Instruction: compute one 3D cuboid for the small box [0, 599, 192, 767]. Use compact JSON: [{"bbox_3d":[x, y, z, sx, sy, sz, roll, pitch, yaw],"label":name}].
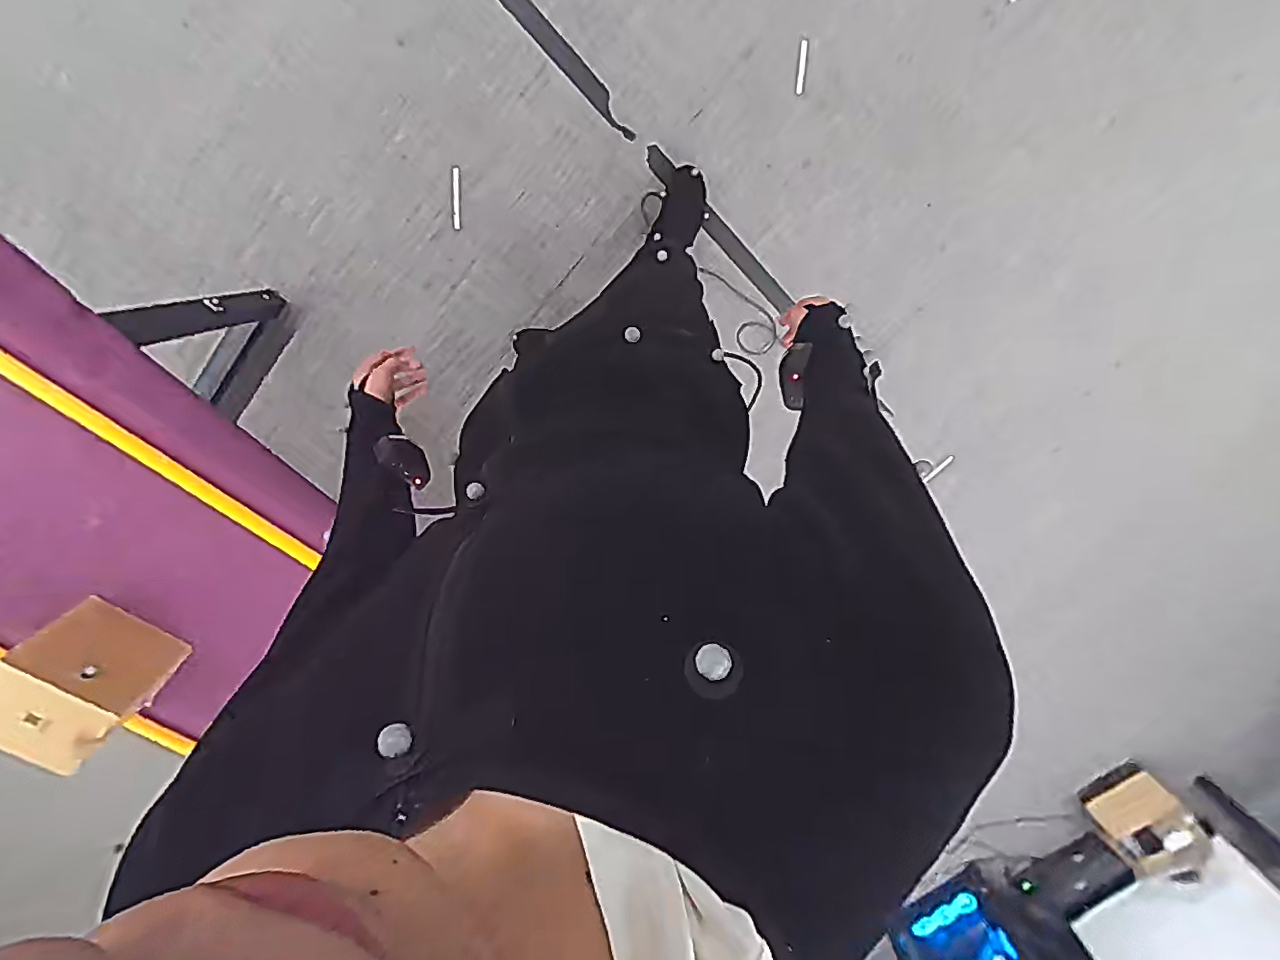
[{"bbox_3d":[-0.918,0.325,0.899,0.179,0.176,0.168,41,104,-19],"label":"small box"}]
